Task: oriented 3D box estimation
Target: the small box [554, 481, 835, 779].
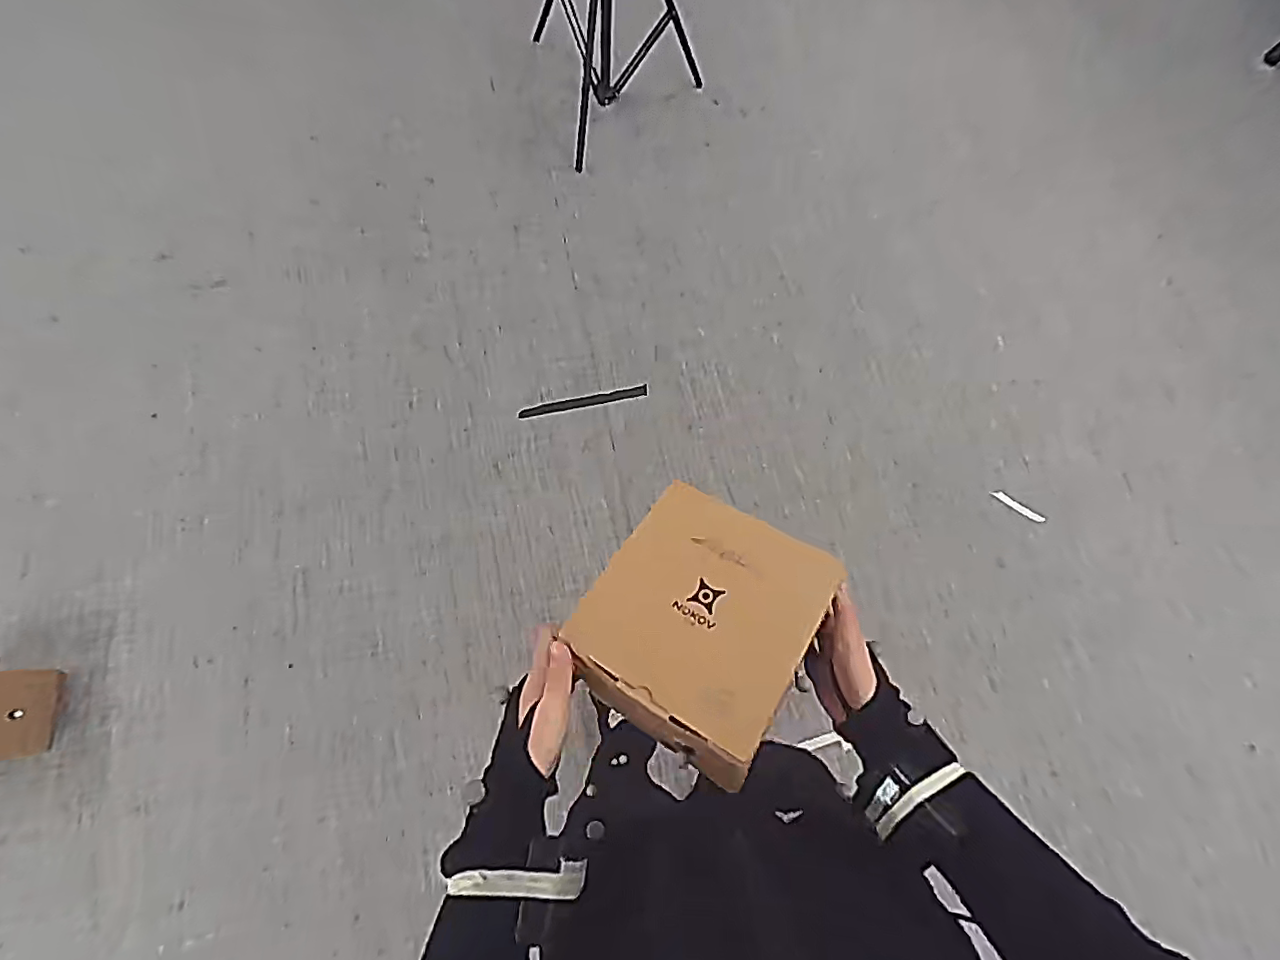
[{"bbox_3d":[0.053,0.139,0.490,0.168,0.176,0.179,25,60,22],"label":"small box"}]
